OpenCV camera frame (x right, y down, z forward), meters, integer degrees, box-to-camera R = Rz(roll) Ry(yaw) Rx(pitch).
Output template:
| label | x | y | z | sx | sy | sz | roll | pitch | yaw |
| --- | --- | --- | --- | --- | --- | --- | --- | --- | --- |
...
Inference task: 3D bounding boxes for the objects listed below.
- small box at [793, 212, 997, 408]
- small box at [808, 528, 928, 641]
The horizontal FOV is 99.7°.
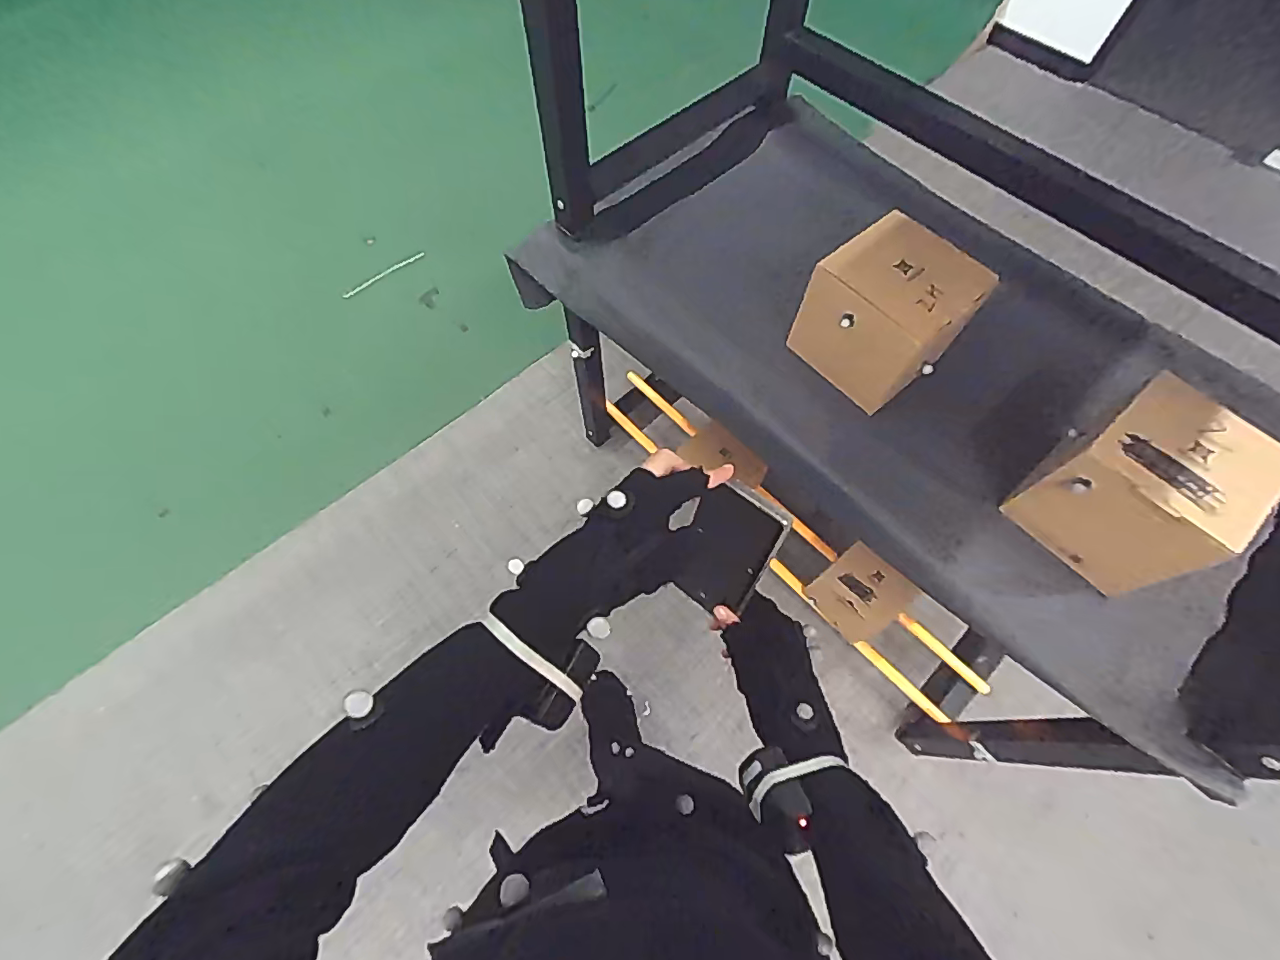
| label | x | y | z | sx | sy | sz | roll | pitch | yaw |
| --- | --- | --- | --- | --- | --- | --- | --- | --- | --- |
| small box | 0.350 | -0.238 | 0.781 | 0.168 | 0.176 | 0.179 | -37 | 70 | -16 |
| small box | 0.510 | 0.246 | 1.243 | 0.179 | 0.176 | 0.168 | -37 | 70 | -16 |
